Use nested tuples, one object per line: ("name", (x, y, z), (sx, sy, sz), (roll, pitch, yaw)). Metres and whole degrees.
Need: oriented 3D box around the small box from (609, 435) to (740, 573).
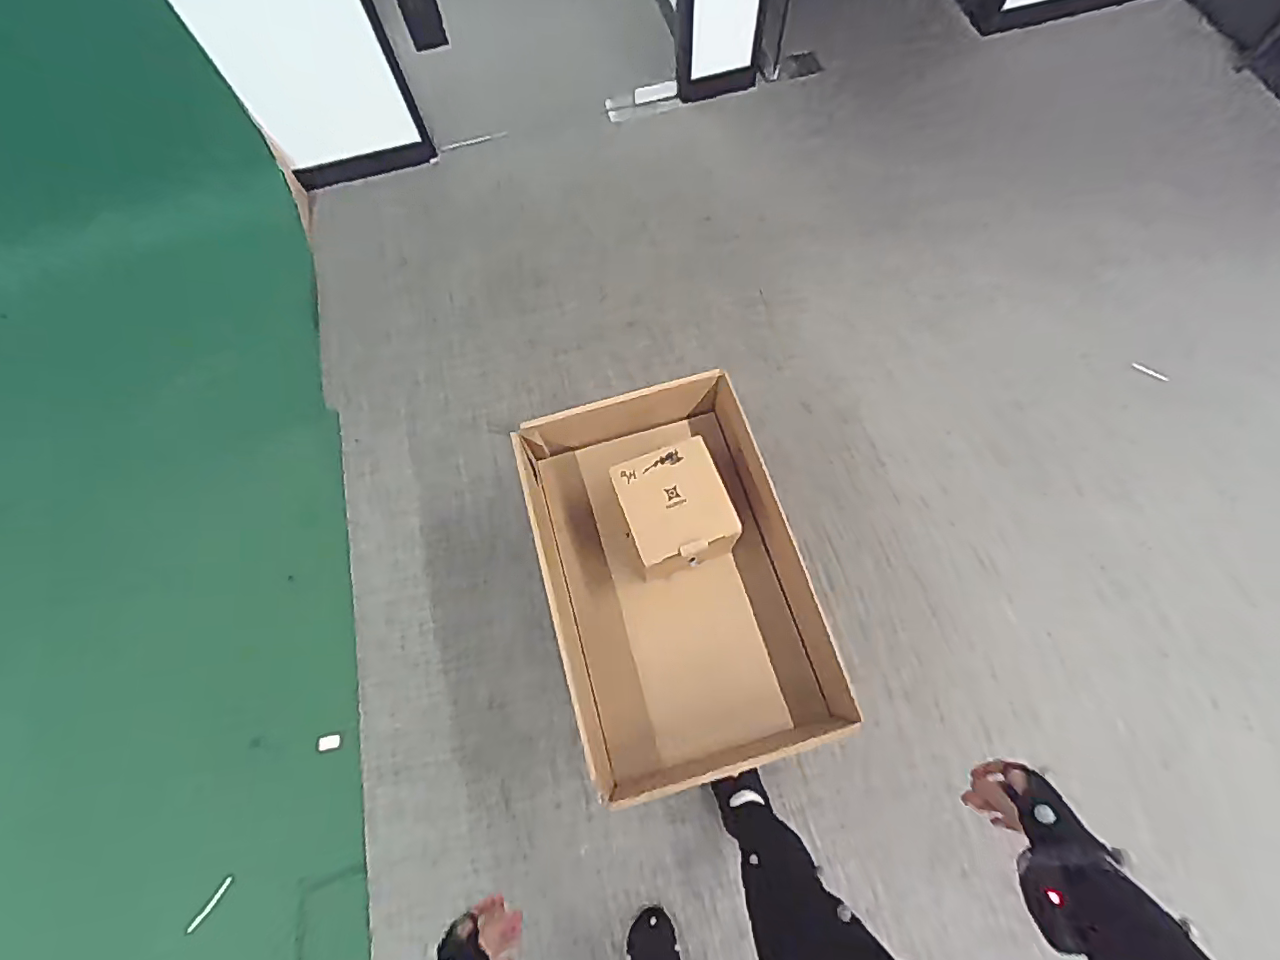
("small box", (0.055, 0.052, 0.930), (0.168, 0.176, 0.179), (-19, 72, -5))
